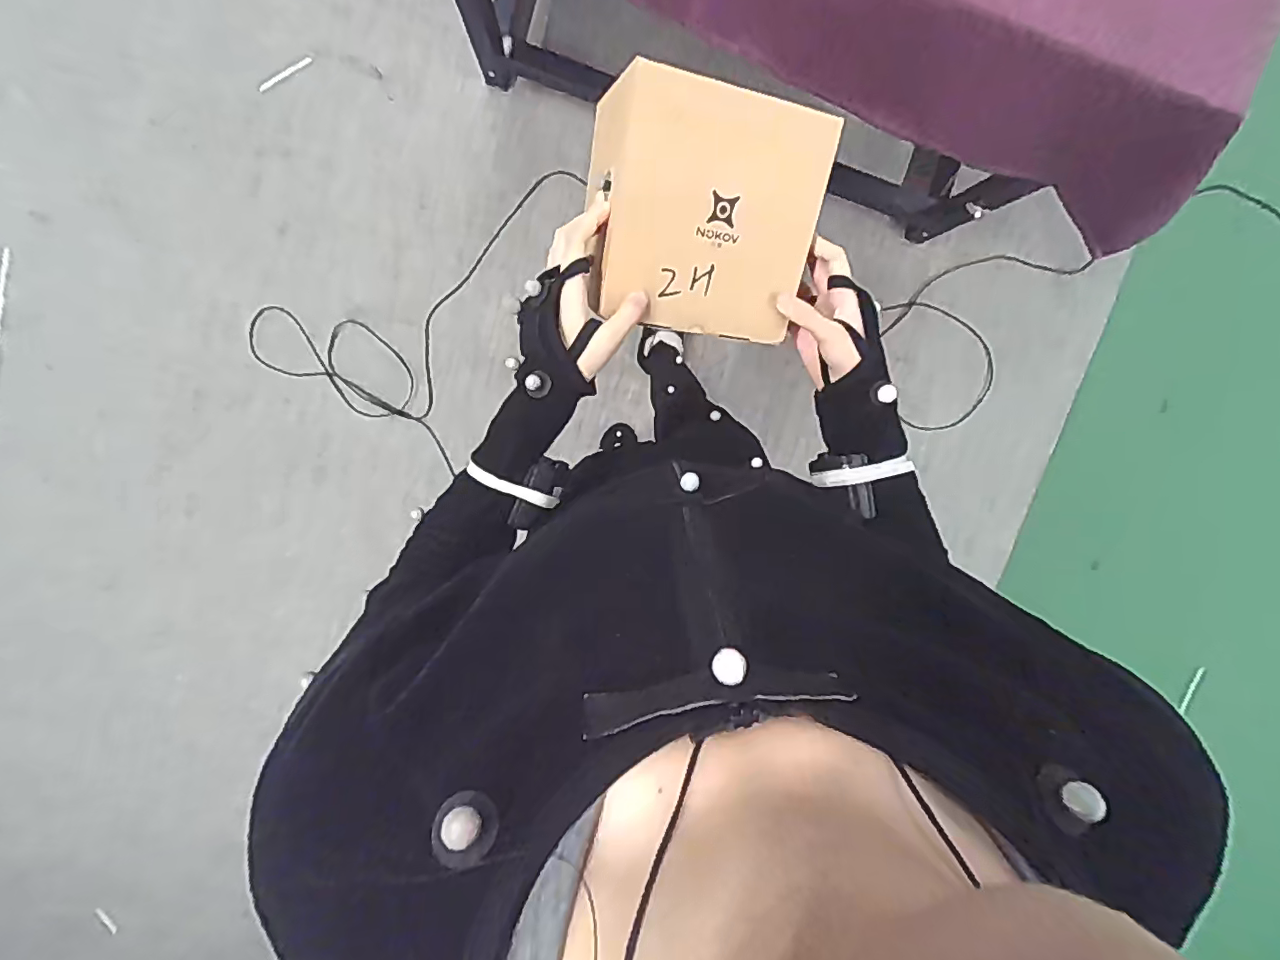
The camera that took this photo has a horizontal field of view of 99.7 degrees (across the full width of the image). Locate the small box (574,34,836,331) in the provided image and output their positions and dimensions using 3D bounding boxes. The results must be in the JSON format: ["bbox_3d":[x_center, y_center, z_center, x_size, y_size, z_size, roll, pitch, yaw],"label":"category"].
[{"bbox_3d":[0.039,-0.246,0.487,0.168,0.176,0.179,5,112,-16],"label":"small box"}]
